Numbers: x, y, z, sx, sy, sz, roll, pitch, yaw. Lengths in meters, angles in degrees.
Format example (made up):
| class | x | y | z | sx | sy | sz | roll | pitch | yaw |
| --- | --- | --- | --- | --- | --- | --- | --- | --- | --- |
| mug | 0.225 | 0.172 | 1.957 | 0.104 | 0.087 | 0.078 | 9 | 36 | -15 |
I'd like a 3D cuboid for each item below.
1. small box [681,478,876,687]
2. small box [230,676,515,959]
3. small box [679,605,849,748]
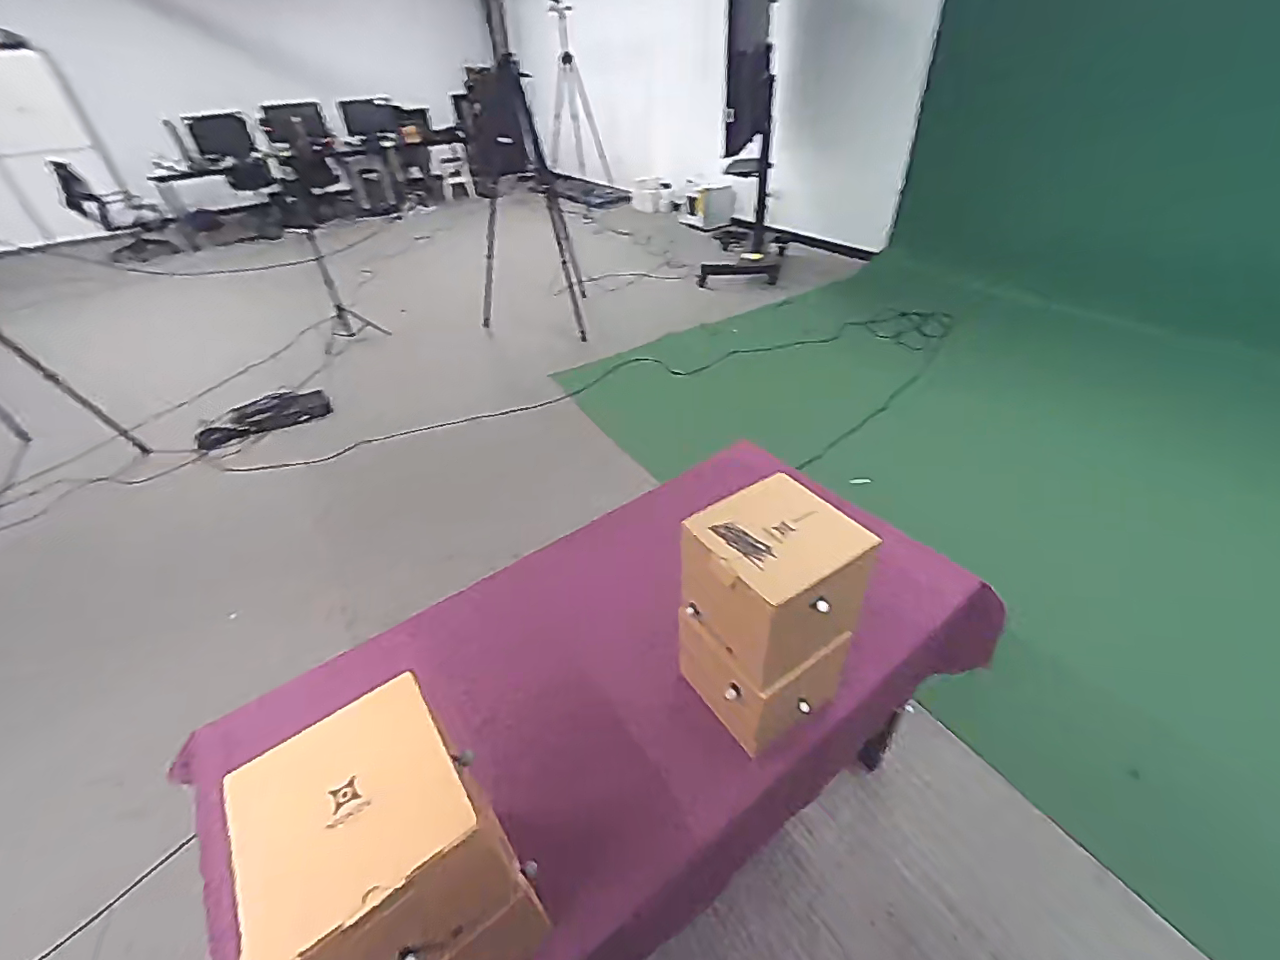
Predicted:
| class | x | y | z | sx | sy | sz | roll | pitch | yaw |
| --- | --- | --- | --- | --- | --- | --- | --- | --- | --- |
| small box | 0.171 | 0.132 | 0.706 | 0.179 | 0.176 | 0.168 | -23 | 43 | -24 |
| small box | -0.235 | 0.328 | 0.496 | 0.168 | 0.176 | 0.179 | -27 | 45 | -26 |
| small box | 0.174 | 0.265 | 0.804 | 0.168 | 0.176 | 0.179 | -24 | 43 | -24 |
